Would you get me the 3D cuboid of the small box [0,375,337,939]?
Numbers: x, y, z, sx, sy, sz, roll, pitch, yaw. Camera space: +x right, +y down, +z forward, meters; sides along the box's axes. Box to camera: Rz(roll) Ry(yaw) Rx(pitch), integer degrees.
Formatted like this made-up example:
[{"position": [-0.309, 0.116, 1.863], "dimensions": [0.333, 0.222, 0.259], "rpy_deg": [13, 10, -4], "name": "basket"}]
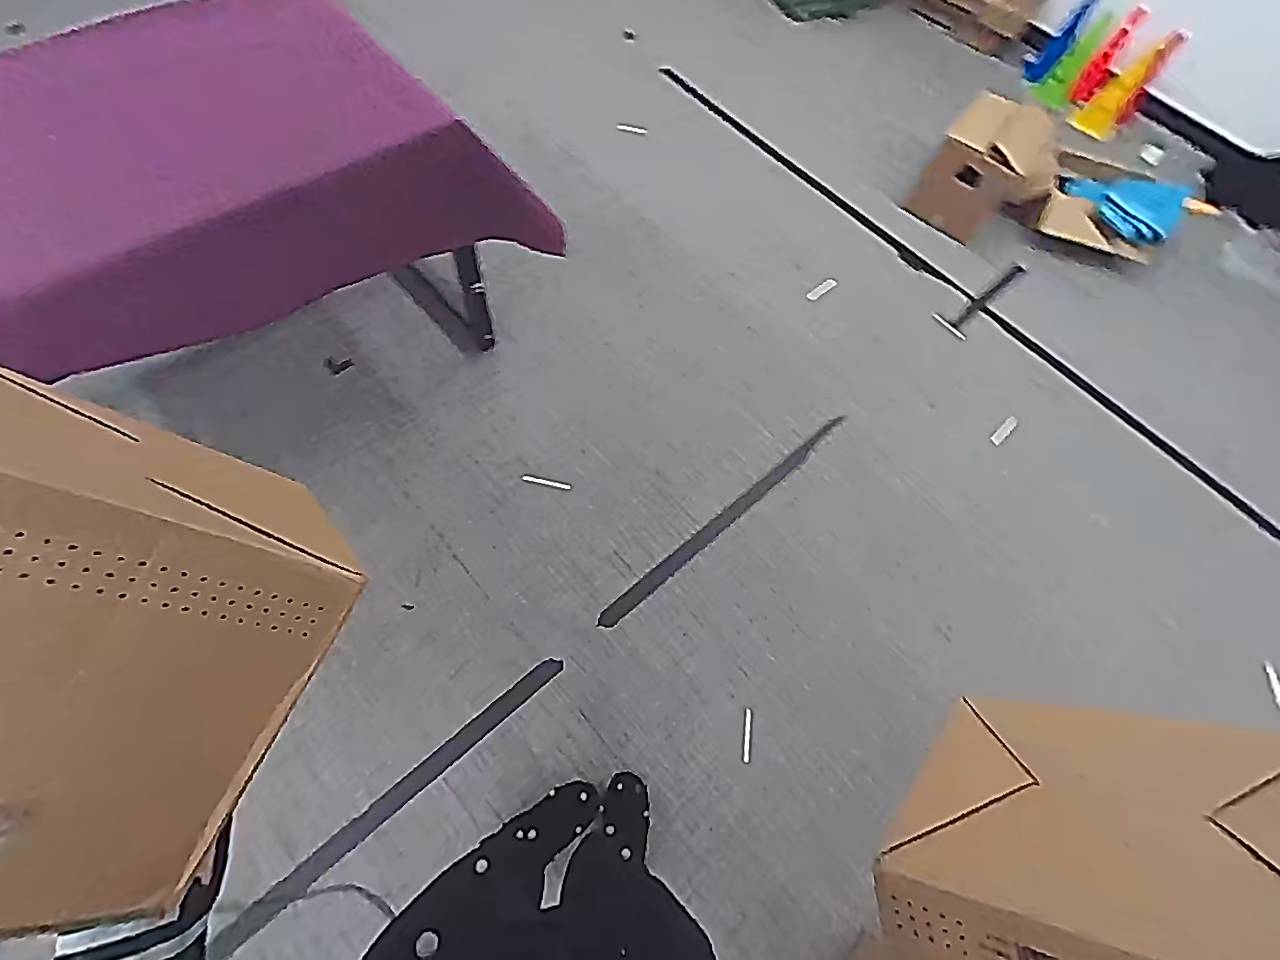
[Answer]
[{"position": [-0.272, 0.061, 0.242], "dimensions": [0.168, 0.179, 0.176], "rpy_deg": [19, 80, 47], "name": "small box"}]
